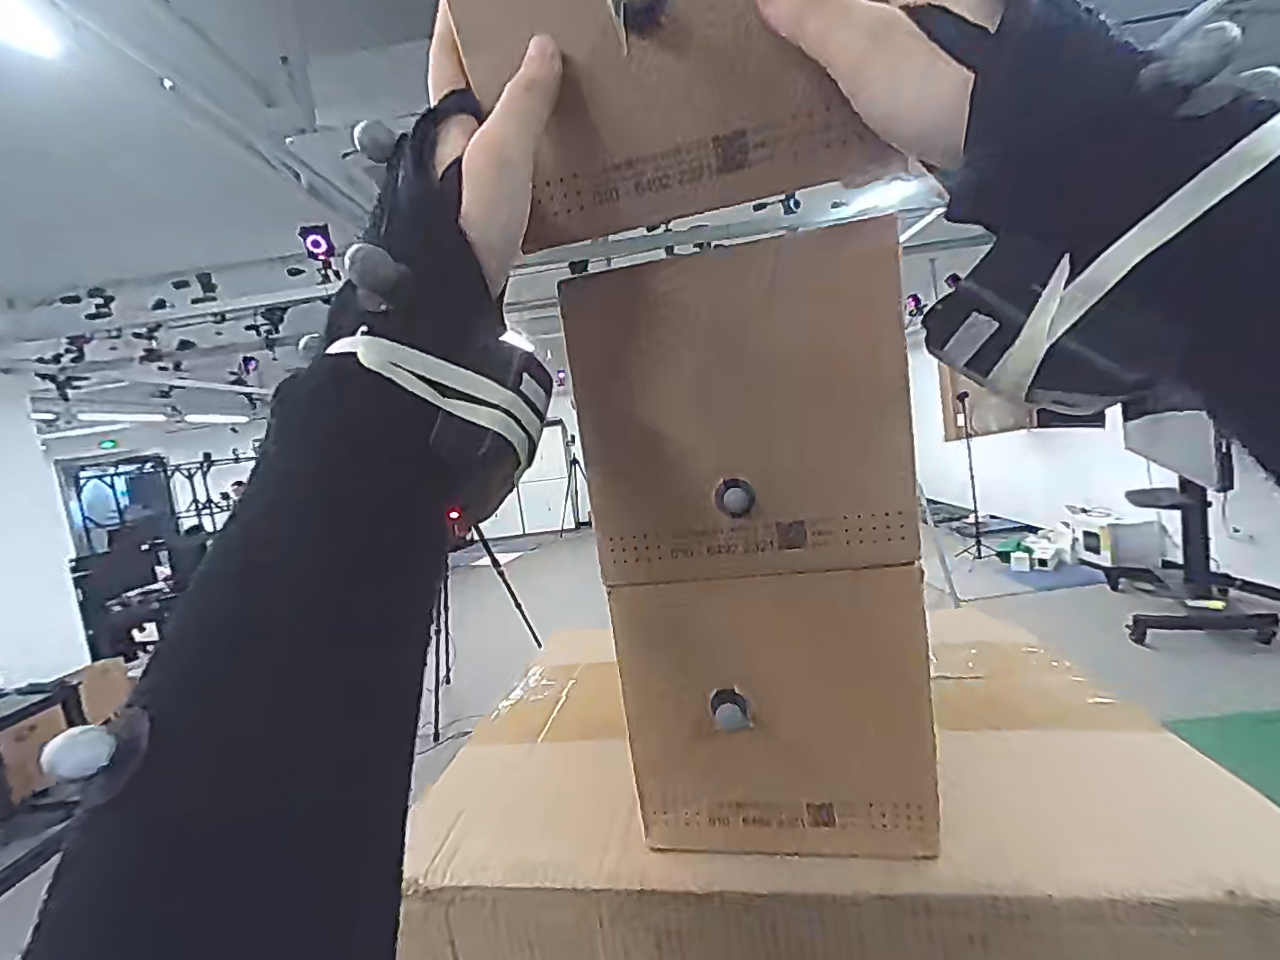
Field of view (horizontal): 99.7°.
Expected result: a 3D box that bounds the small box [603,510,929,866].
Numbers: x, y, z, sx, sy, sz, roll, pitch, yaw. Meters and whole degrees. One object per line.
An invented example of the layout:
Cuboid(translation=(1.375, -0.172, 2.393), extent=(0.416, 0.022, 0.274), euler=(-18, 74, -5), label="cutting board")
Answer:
Cuboid(translation=(0.085, 0.127, 0.376), extent=(0.168, 0.176, 0.179), euler=(-6, 7, 12), label="small box")

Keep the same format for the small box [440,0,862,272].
Cuboid(translation=(0.014, -0.218, 0.288), extent=(0.168, 0.176, 0.179), euler=(-8, 26, 13), label="small box")
